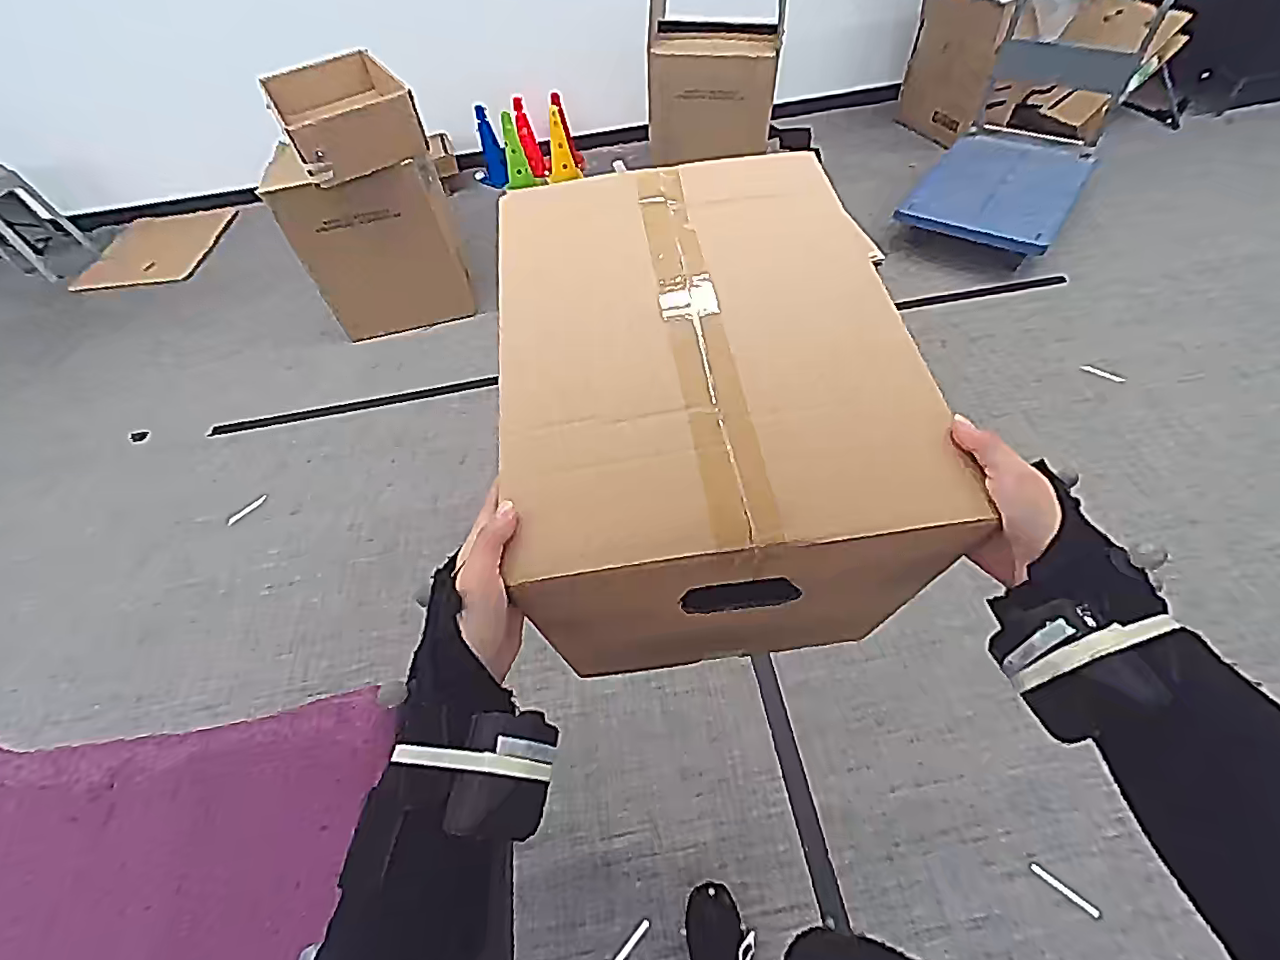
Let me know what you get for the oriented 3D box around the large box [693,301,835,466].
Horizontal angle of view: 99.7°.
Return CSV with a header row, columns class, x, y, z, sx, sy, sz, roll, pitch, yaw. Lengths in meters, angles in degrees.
class,x,y,z,sx,sy,sz,roll,pitch,yaw
large box,0.367,-0.309,1.733,0.320,0.320,0.408,-11,53,-3
